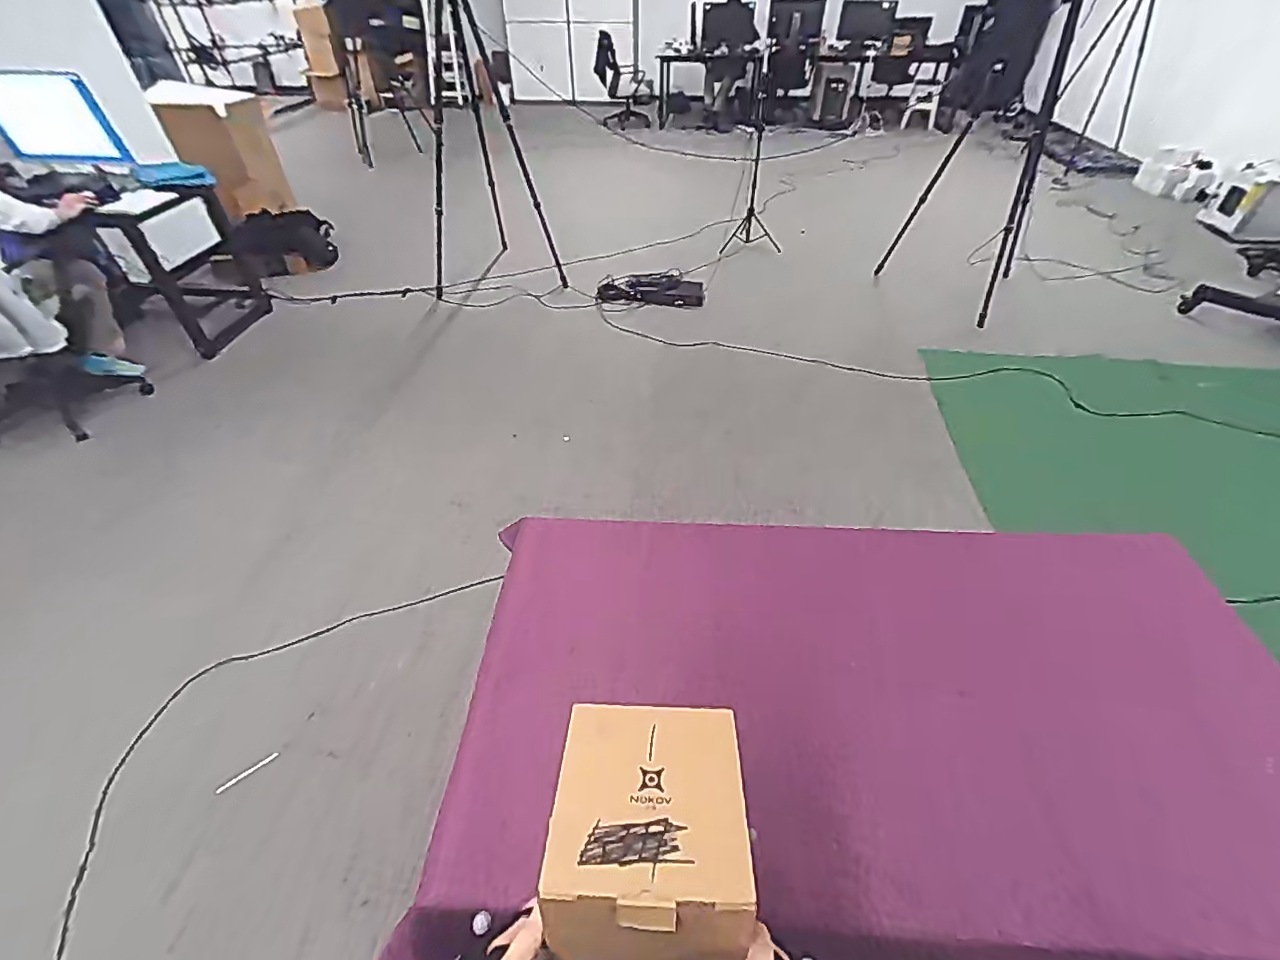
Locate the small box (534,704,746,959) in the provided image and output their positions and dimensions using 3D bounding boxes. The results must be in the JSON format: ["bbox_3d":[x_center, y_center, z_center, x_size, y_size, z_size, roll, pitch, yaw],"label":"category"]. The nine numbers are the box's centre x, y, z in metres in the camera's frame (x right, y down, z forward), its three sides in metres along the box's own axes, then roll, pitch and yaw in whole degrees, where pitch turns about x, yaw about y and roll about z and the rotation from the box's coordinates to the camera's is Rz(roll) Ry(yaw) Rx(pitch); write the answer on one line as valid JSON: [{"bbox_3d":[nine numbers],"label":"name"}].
[{"bbox_3d":[0.006,0.345,0.516,0.168,0.176,0.179,1,27,3],"label":"small box"}]
